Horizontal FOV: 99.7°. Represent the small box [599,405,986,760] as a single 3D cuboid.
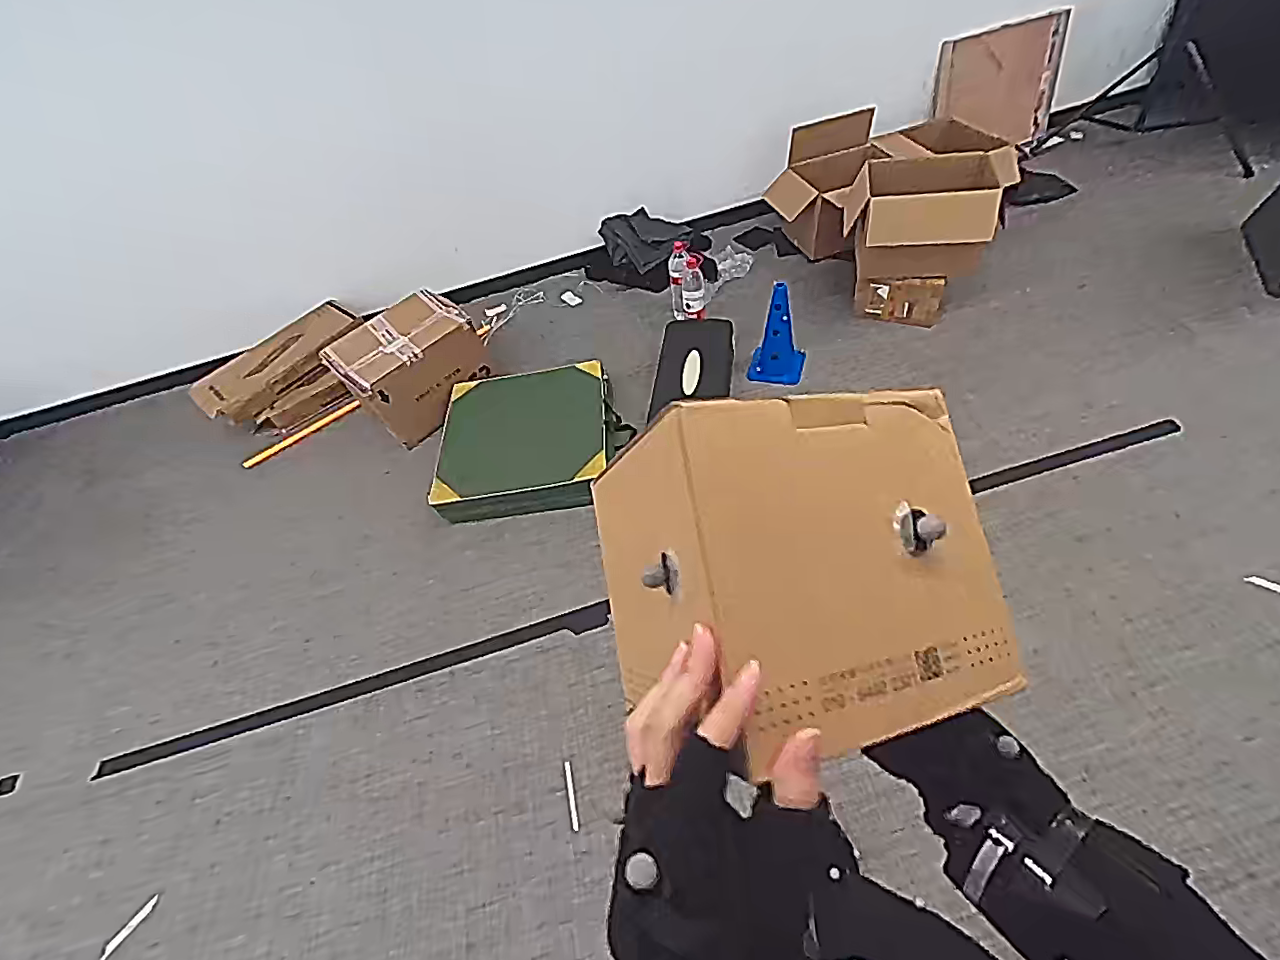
[{"bbox_3d":[0.081,0.065,0.357,0.168,0.179,0.176,-6,78,-18],"label":"small box"}]
